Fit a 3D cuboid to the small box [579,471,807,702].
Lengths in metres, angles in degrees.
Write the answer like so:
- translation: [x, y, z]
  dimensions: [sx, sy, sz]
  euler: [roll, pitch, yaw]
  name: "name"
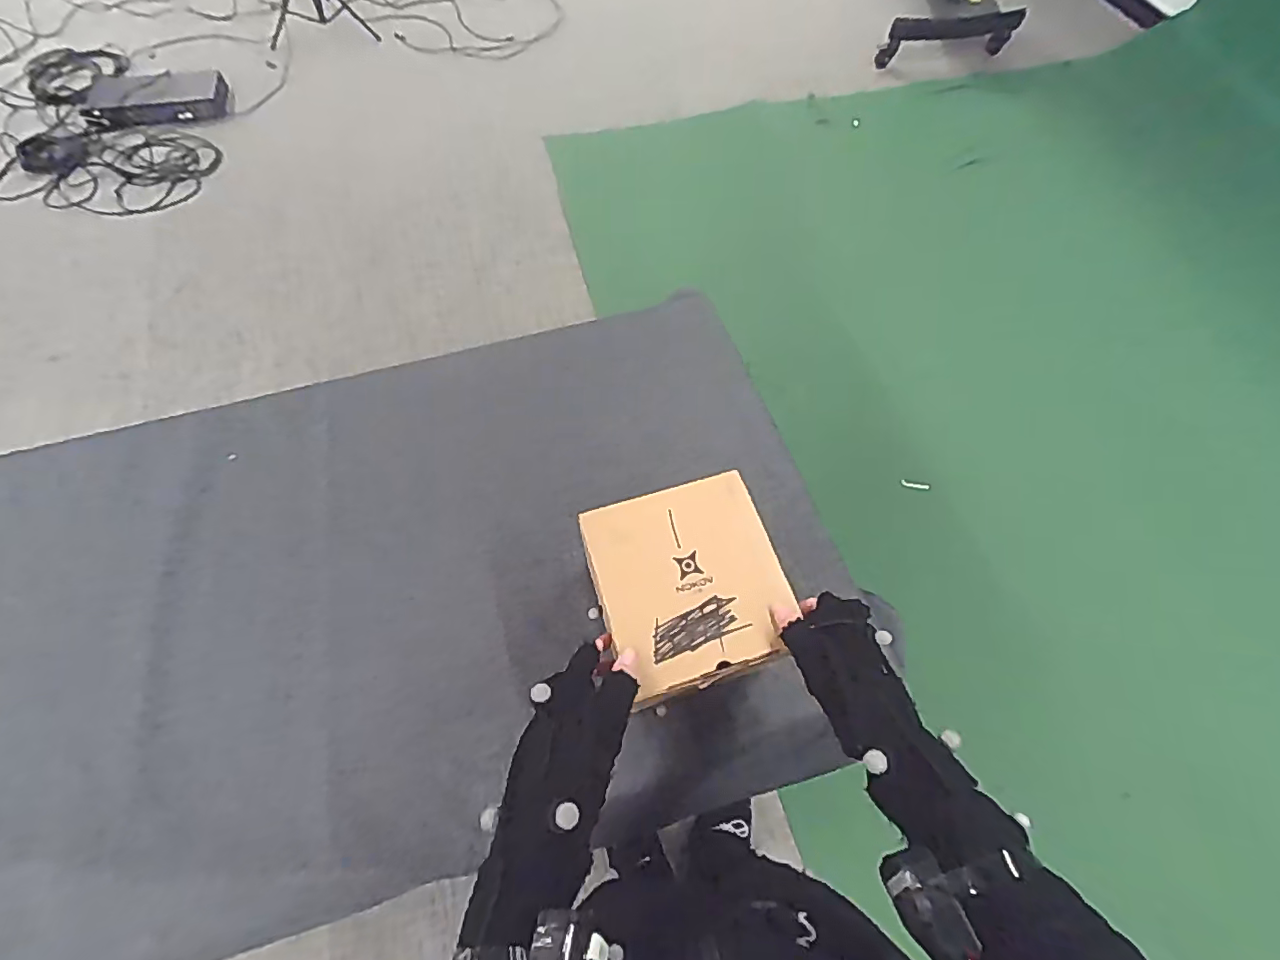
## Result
- translation: [0.043, 0.119, 0.559]
  dimensions: [0.168, 0.176, 0.179]
  euler: [-15, 65, -9]
  name: "small box"
